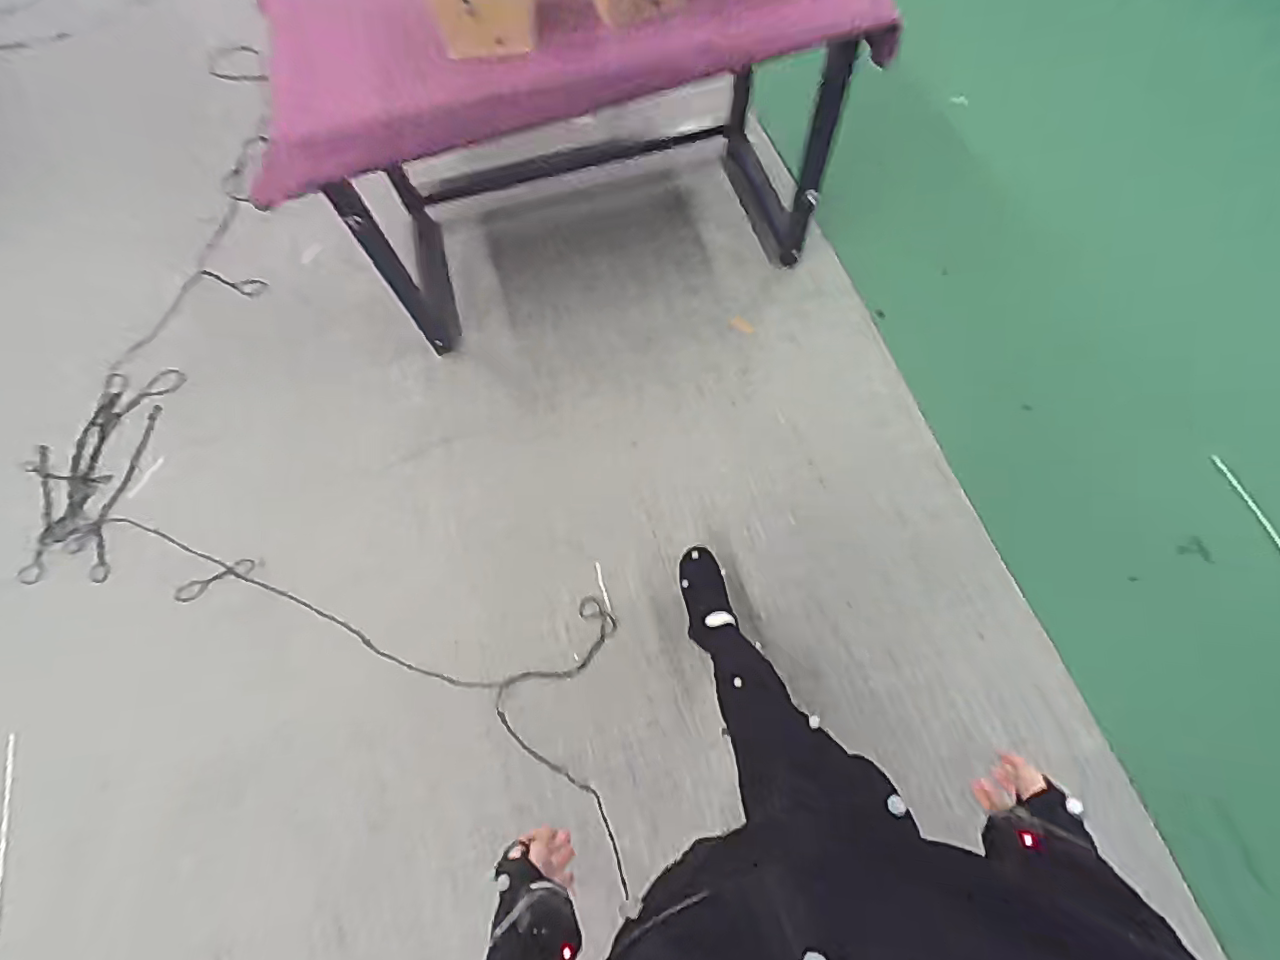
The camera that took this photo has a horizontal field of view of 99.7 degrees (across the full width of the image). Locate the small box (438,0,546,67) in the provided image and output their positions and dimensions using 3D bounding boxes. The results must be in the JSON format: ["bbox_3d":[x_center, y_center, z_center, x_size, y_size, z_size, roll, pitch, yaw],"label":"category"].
[{"bbox_3d":[-0.280,-0.924,1.031,0.168,0.176,0.179,-2,67,3],"label":"small box"}]

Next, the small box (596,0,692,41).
[{"bbox_3d":[-0.001,-1.003,1.045,0.168,0.176,0.179,-18,69,-4],"label":"small box"}]
